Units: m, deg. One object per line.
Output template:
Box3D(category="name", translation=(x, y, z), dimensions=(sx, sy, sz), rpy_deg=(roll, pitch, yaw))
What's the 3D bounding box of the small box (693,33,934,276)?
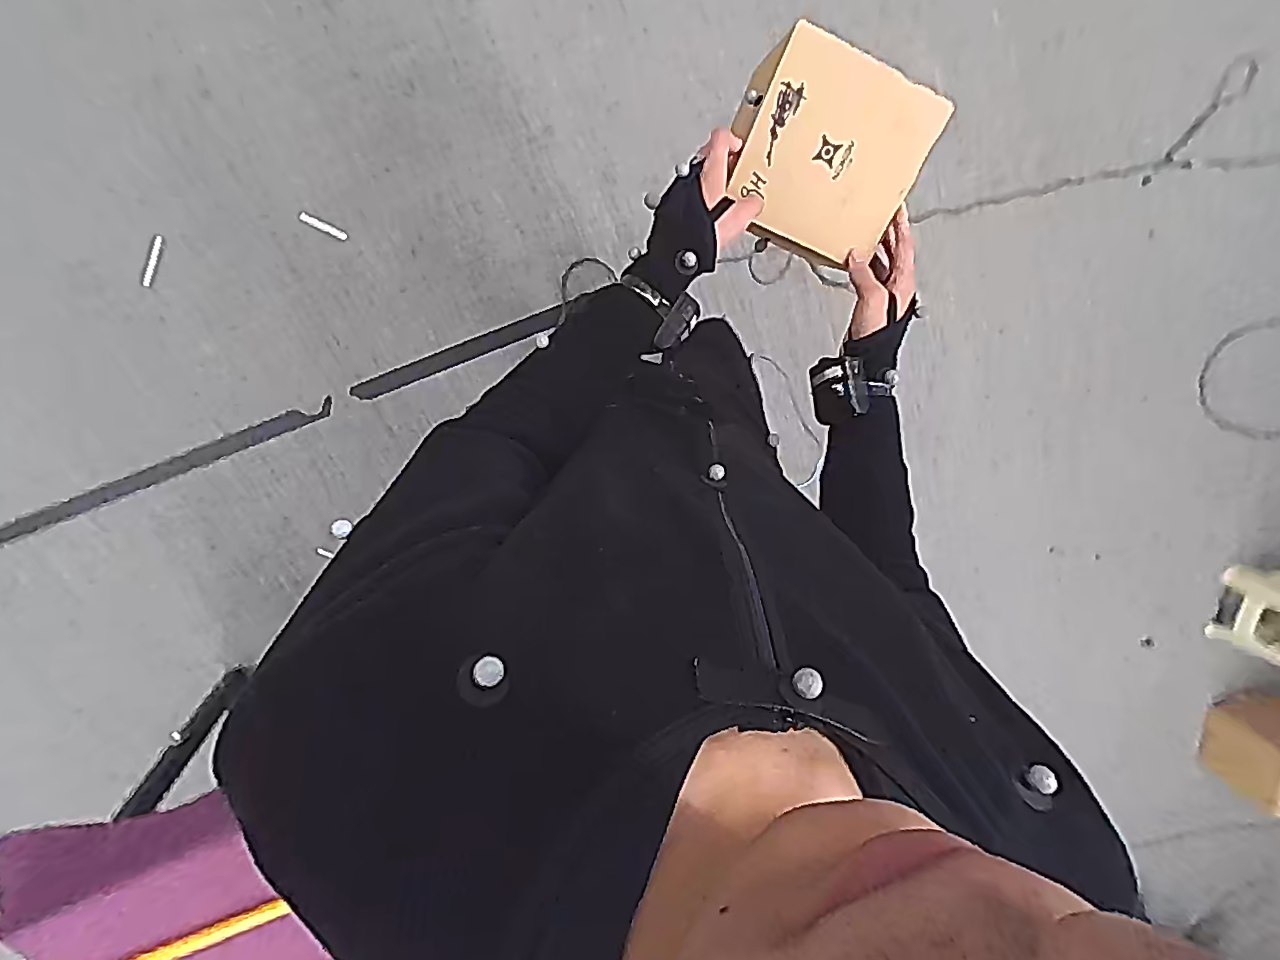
Box3D(category="small box", translation=(0.178, -0.355, 0.615), dimensions=(0.179, 0.176, 0.168), rpy_deg=(18, 114, -11))
